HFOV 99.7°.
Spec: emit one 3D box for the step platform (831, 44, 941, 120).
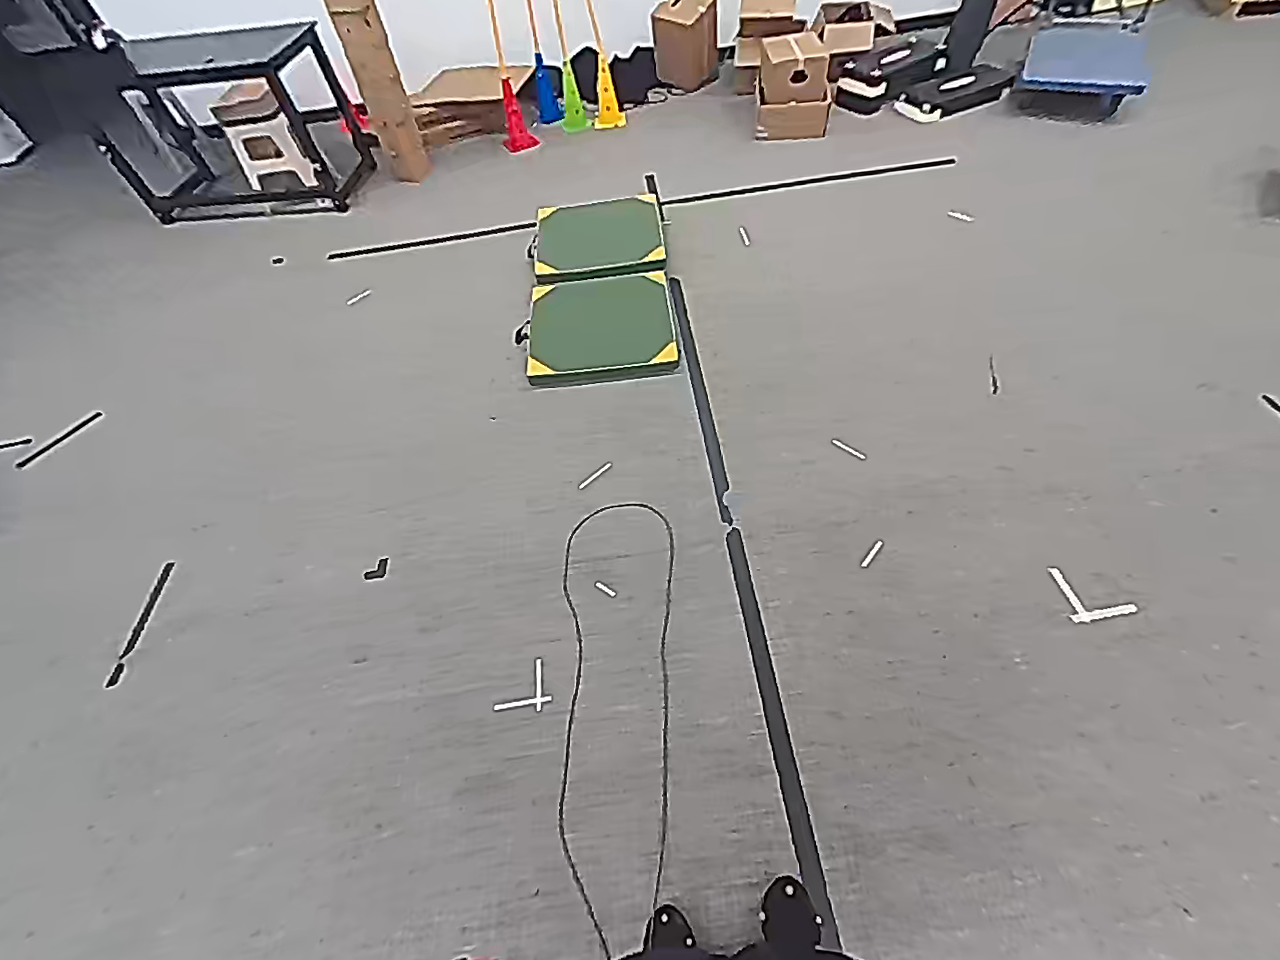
[{"bbox_3d":[1.524,-2.476,3.349,0.684,0.204,0.286,-32,57,-16],"label":"step platform"}]
